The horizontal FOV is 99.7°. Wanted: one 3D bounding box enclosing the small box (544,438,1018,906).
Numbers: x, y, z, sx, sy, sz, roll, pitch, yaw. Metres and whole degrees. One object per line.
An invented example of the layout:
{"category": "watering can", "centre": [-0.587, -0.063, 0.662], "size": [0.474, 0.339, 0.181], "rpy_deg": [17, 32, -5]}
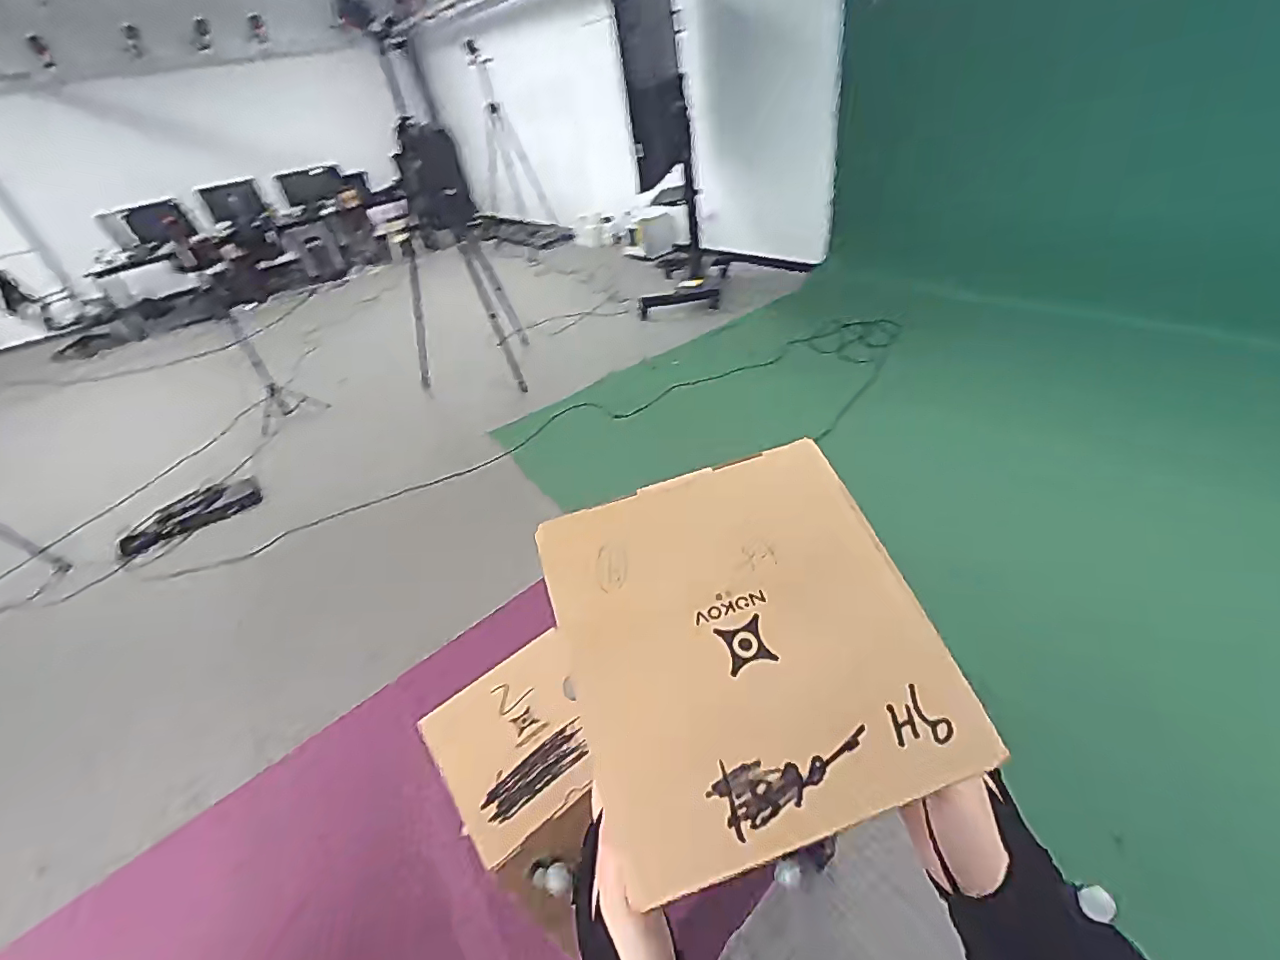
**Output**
{"category": "small box", "centre": [0.055, 0.109, 0.318], "size": [0.168, 0.176, 0.179], "rpy_deg": [-18, 59, -5]}

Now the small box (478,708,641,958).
{"category": "small box", "centre": [-0.064, 0.424, 0.665], "size": [0.179, 0.176, 0.168], "rpy_deg": [-33, 41, -24]}
